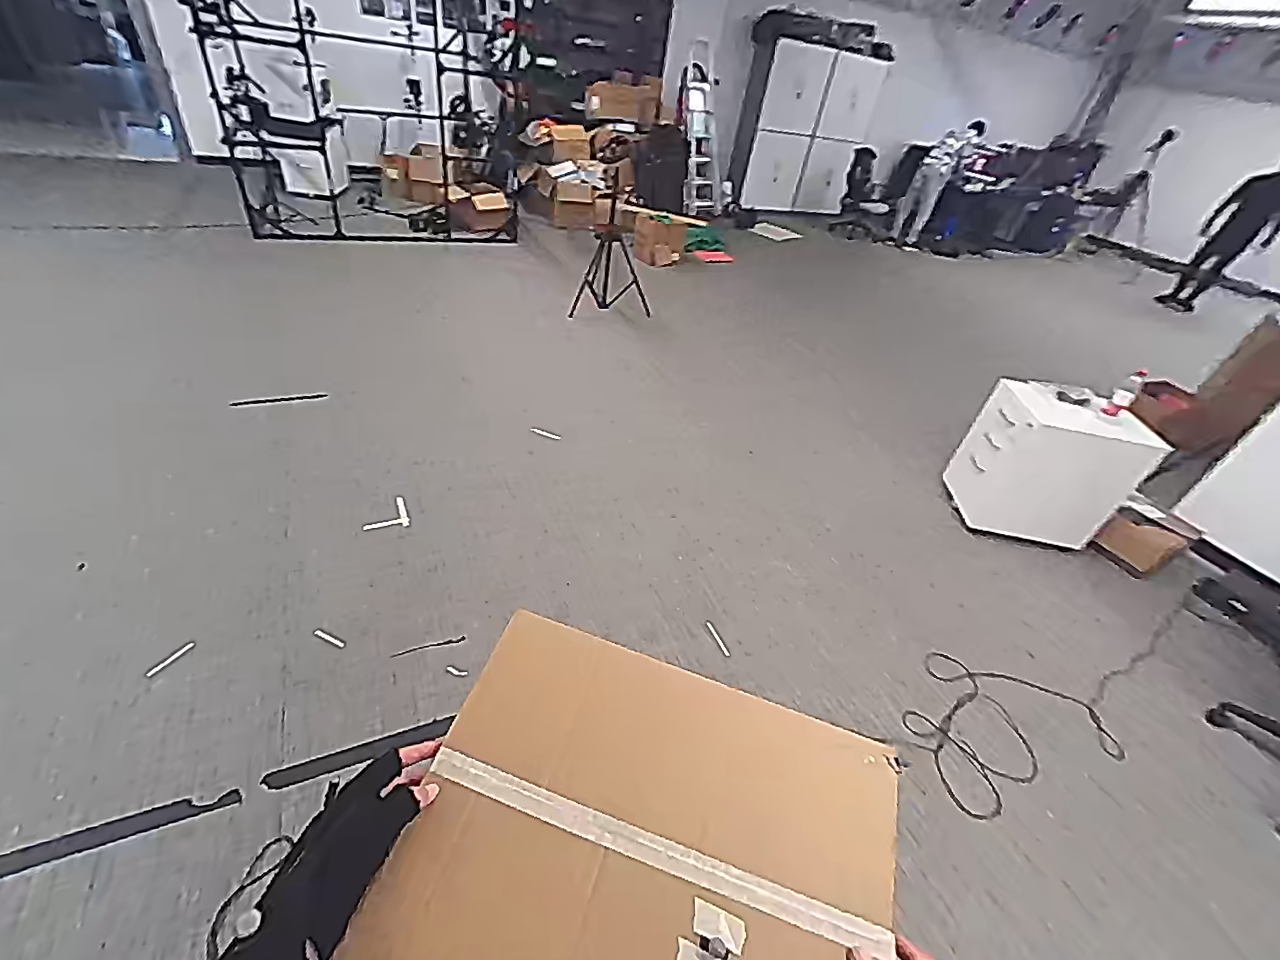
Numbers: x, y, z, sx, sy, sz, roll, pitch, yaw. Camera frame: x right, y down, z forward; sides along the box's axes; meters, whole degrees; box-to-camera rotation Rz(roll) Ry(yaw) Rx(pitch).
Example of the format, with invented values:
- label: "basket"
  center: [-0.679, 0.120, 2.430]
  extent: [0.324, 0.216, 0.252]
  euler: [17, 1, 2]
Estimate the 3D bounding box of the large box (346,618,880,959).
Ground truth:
- label: "large box"
  center: [-0.008, 0.409, 0.587]
  extent: [0.408, 0.320, 0.320]
  euler: [18, 51, 7]
